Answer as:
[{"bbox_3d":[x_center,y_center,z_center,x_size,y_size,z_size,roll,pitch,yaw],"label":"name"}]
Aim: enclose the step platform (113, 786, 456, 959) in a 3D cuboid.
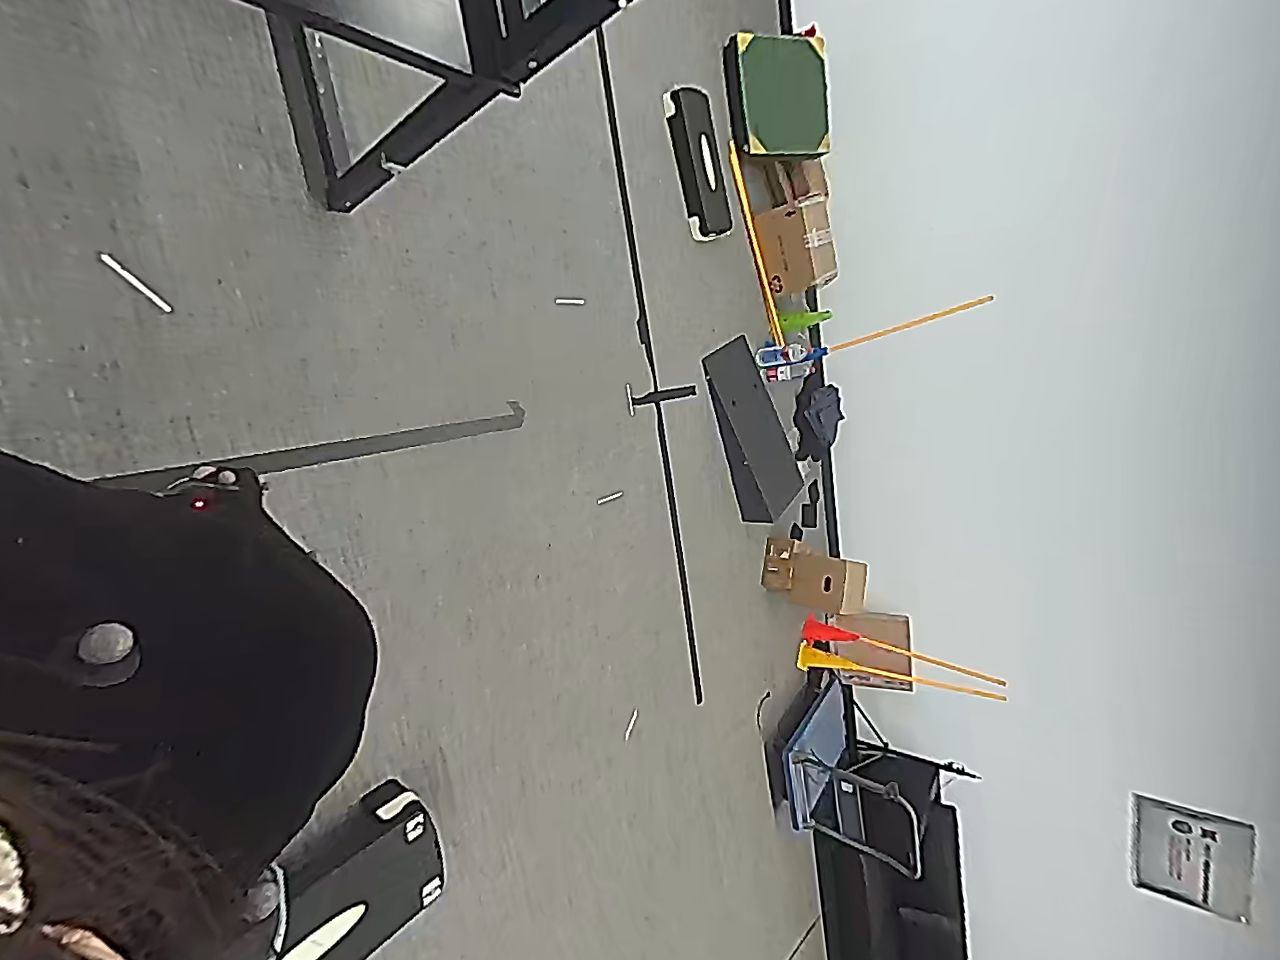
[{"bbox_3d":[-0.784,1.057,1.291,0.684,0.204,0.286,-11,98,-51],"label":"step platform"}]
